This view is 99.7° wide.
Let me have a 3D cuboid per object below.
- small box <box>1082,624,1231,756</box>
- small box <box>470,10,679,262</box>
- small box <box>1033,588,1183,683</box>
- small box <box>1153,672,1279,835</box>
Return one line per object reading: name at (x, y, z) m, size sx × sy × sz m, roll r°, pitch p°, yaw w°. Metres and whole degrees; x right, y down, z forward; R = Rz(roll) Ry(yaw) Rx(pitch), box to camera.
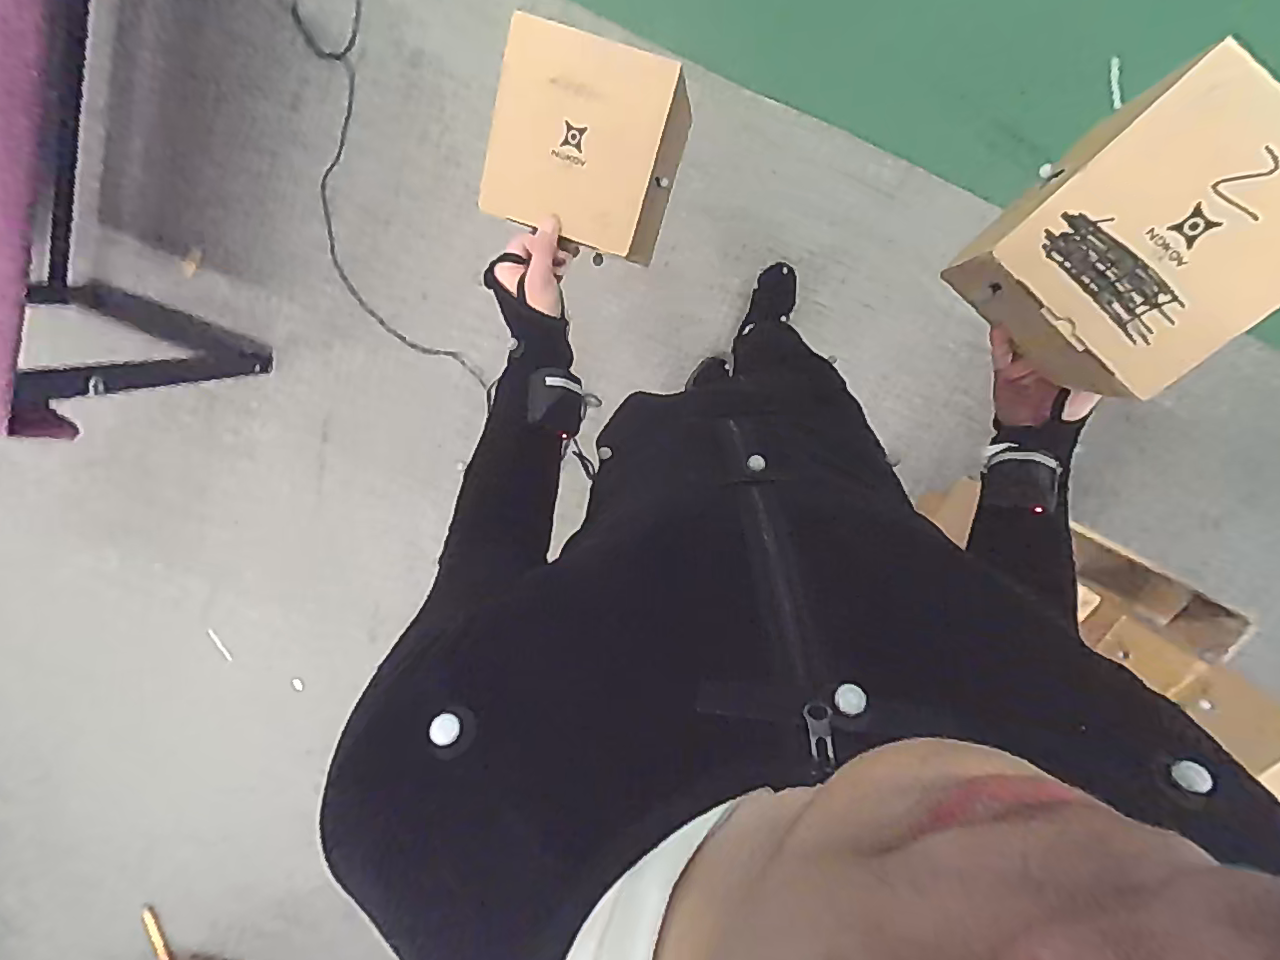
small box at (1.010, 0.402, 1.019) m, size 0.179 × 0.176 × 0.168 m, roll 25°, pitch 106°, yaw -2°
small box at (-0.061, -0.352, 0.594) m, size 0.168 × 0.176 × 0.179 m, roll 19°, pitch 111°, yaw 2°
small box at (1.022, 0.362, 1.175) m, size 0.179 × 0.176 × 0.168 m, roll 26°, pitch 105°, yaw -3°
small box at (1.004, 0.443, 0.860) m, size 0.179 × 0.176 × 0.168 m, roll 35°, pitch 105°, yaw -4°
